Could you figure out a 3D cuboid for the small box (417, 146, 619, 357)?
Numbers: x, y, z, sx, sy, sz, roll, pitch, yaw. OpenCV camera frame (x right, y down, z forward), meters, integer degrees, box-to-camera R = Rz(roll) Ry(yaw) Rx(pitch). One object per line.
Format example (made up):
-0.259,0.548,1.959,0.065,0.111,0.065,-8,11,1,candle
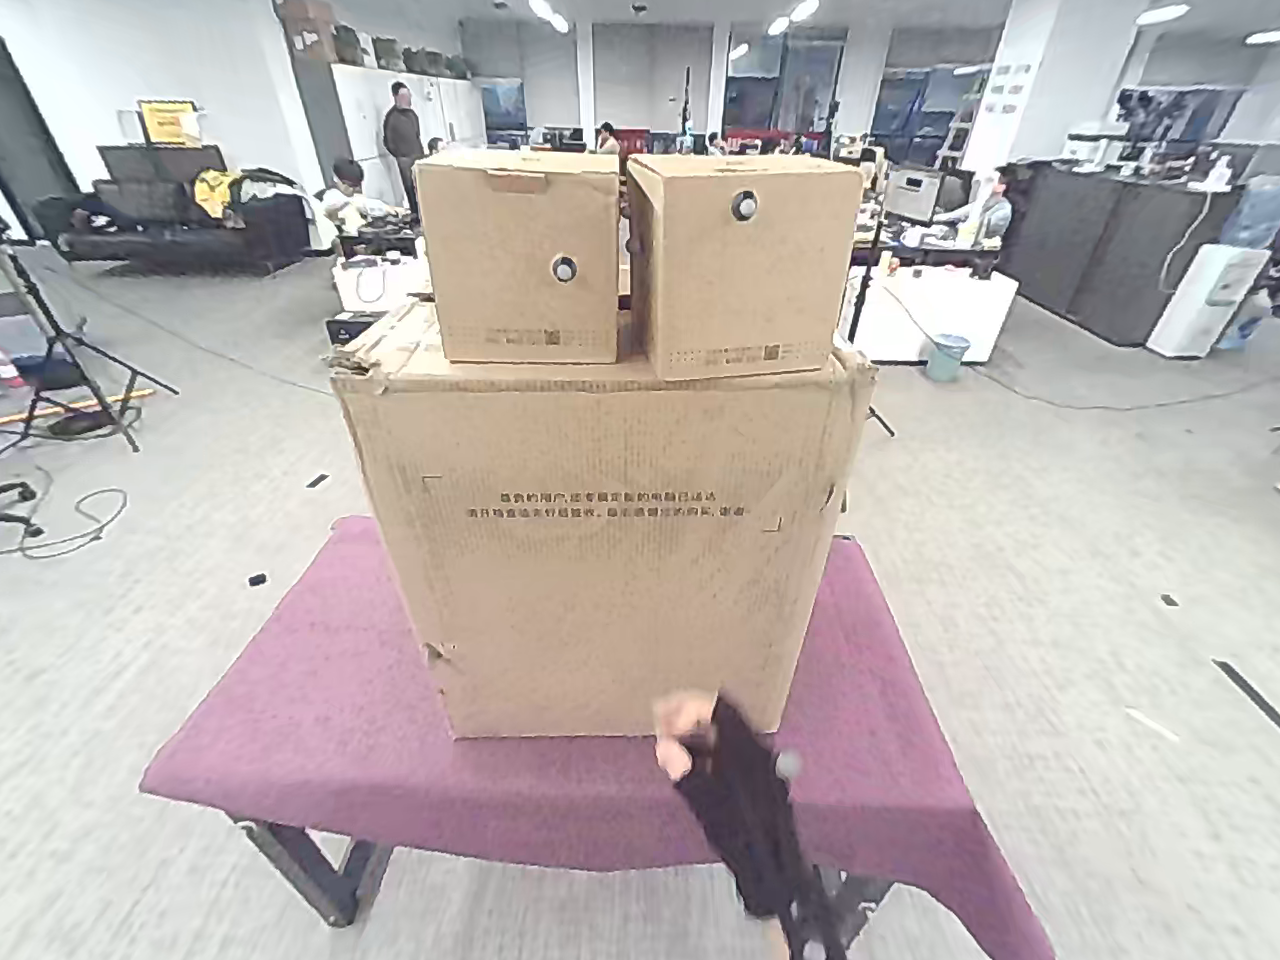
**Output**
-0.104,-0.231,0.545,0.168,0.176,0.179,1,33,-5,small box

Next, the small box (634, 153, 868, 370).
0.085,-0.217,0.525,0.168,0.176,0.179,-6,34,-8,small box
